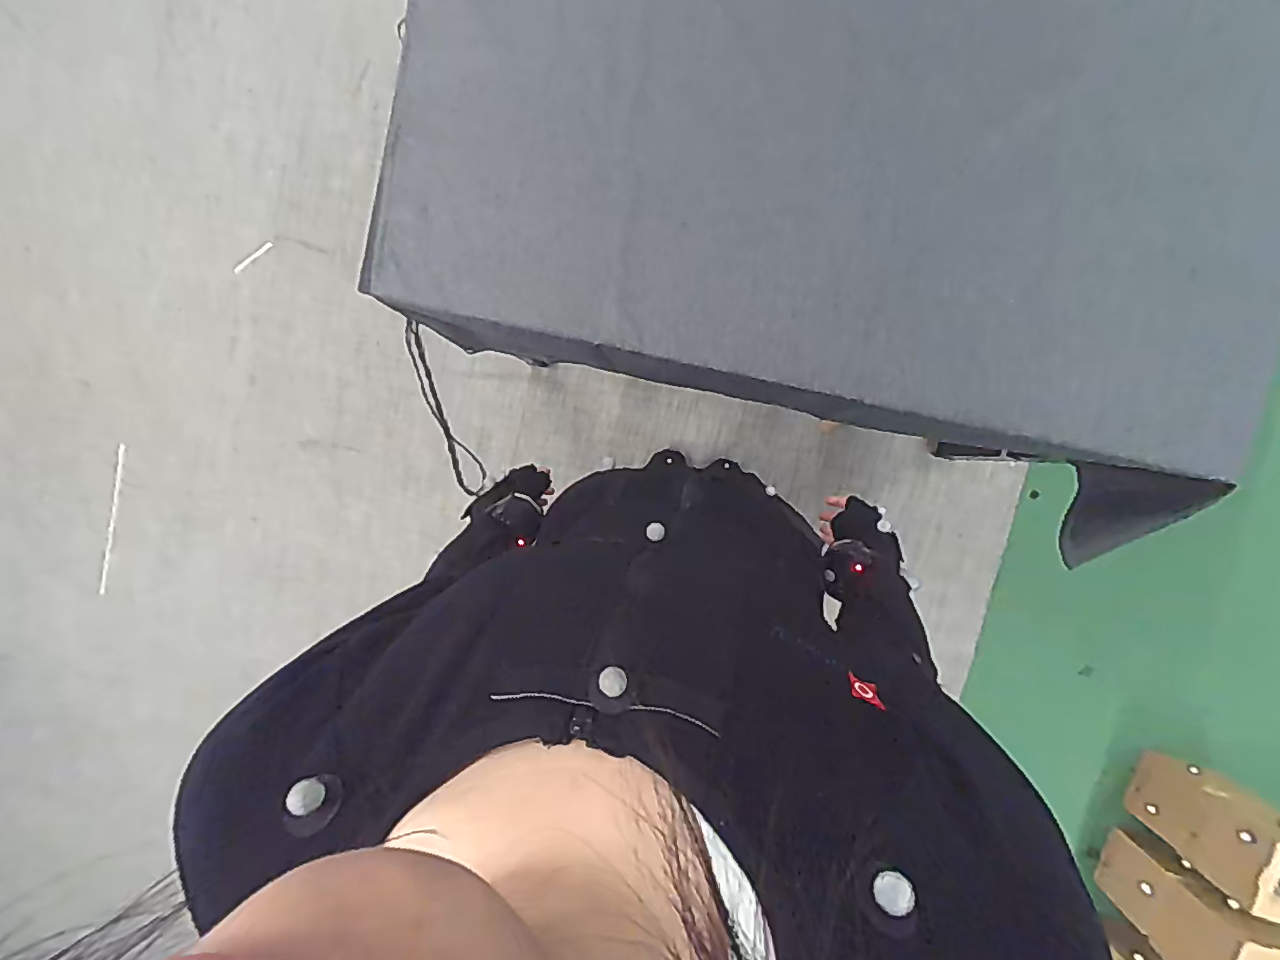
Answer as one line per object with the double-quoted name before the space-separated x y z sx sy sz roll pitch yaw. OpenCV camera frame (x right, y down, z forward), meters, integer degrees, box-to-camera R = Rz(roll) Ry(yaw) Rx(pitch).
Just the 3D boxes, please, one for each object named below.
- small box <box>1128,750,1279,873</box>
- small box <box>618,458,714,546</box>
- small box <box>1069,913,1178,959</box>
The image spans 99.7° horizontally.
"small box" 1.361 0.795 1.318 0.179 0.176 0.168 18 95 5
"small box" 0.065 0.056 1.430 0.168 0.176 0.179 -43 72 18
"small box" 1.240 1.243 1.355 0.179 0.176 0.168 14 95 5
